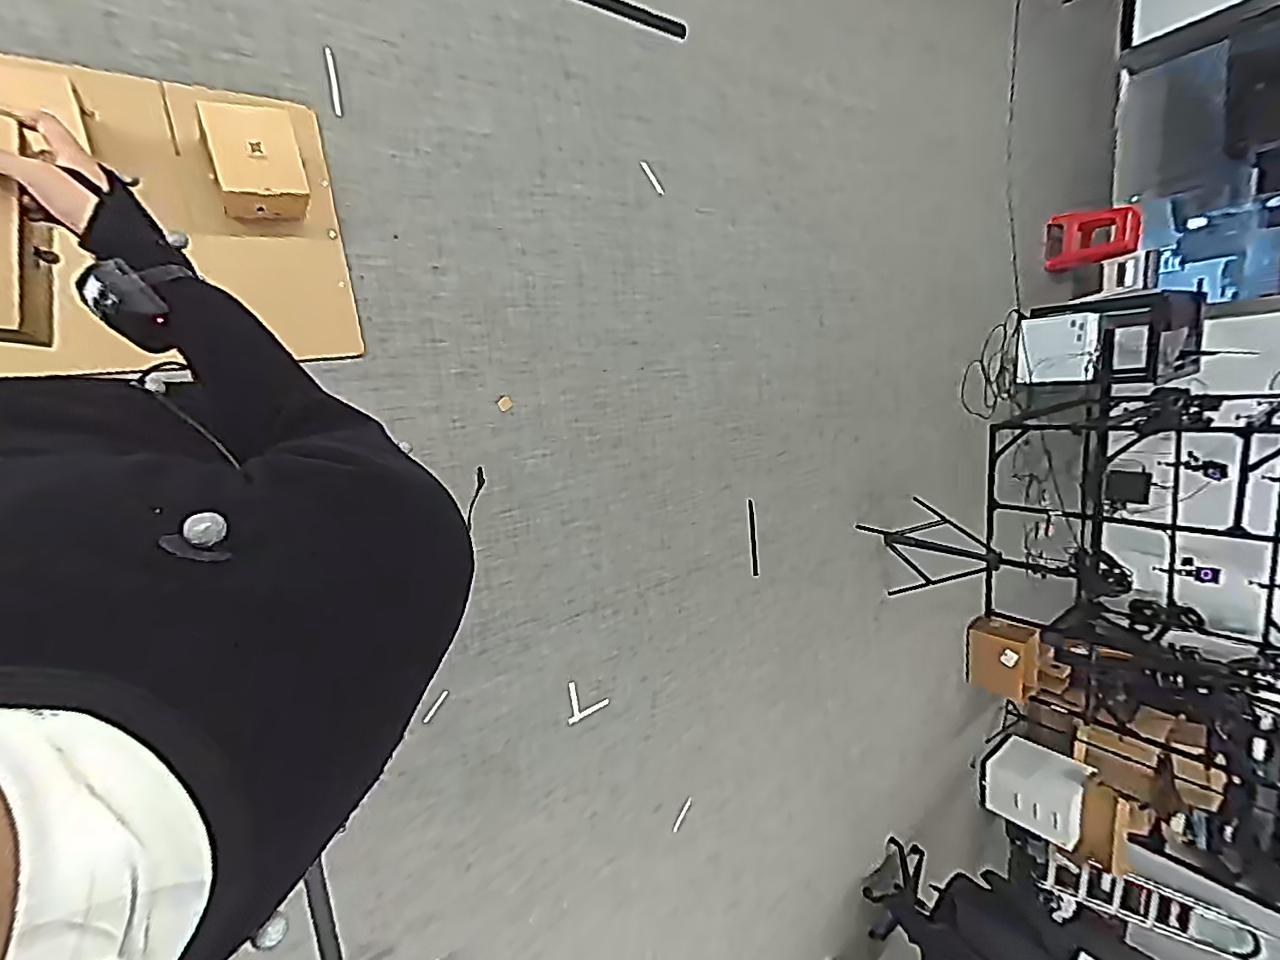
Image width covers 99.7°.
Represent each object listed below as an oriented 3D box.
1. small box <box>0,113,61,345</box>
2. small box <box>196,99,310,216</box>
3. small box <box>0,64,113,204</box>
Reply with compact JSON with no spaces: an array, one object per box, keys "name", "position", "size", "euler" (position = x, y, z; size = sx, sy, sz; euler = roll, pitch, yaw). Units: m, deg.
[{"name":"small box","position":[-0.630,-0.222,0.463],"size":[0.168,0.176,0.179],"euler":[0,96,-41]},{"name":"small box","position":[-0.868,-0.713,1.215],"size":[0.168,0.176,0.179],"euler":[-19,106,-33]},{"name":"small box","position":[-1.141,-0.644,1.018],"size":[0.168,0.176,0.179],"euler":[-15,104,-33]}]
